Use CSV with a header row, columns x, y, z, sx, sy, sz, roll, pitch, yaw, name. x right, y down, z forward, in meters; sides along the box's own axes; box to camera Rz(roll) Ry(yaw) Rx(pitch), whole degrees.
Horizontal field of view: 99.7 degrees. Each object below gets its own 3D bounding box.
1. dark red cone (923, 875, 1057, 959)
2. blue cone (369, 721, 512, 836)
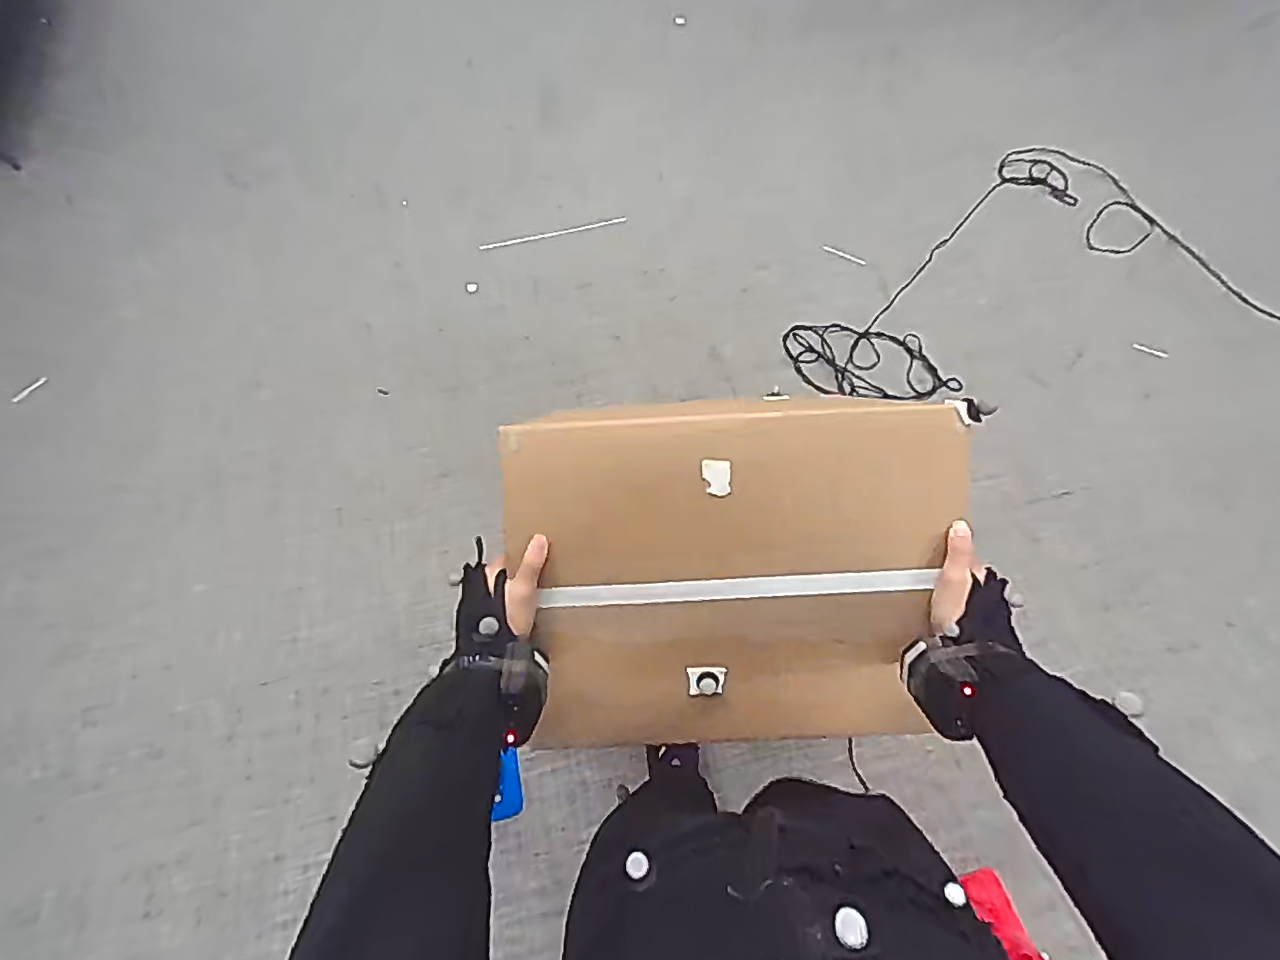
x,y,z,sx,sy,sz,roll,pitch,yaw,name
0.625,0.784,0.805,0.202,0.394,0.201,-19,70,-7,dark red cone
-0.372,0.551,0.980,0.192,0.380,0.193,-12,66,-3,blue cone
